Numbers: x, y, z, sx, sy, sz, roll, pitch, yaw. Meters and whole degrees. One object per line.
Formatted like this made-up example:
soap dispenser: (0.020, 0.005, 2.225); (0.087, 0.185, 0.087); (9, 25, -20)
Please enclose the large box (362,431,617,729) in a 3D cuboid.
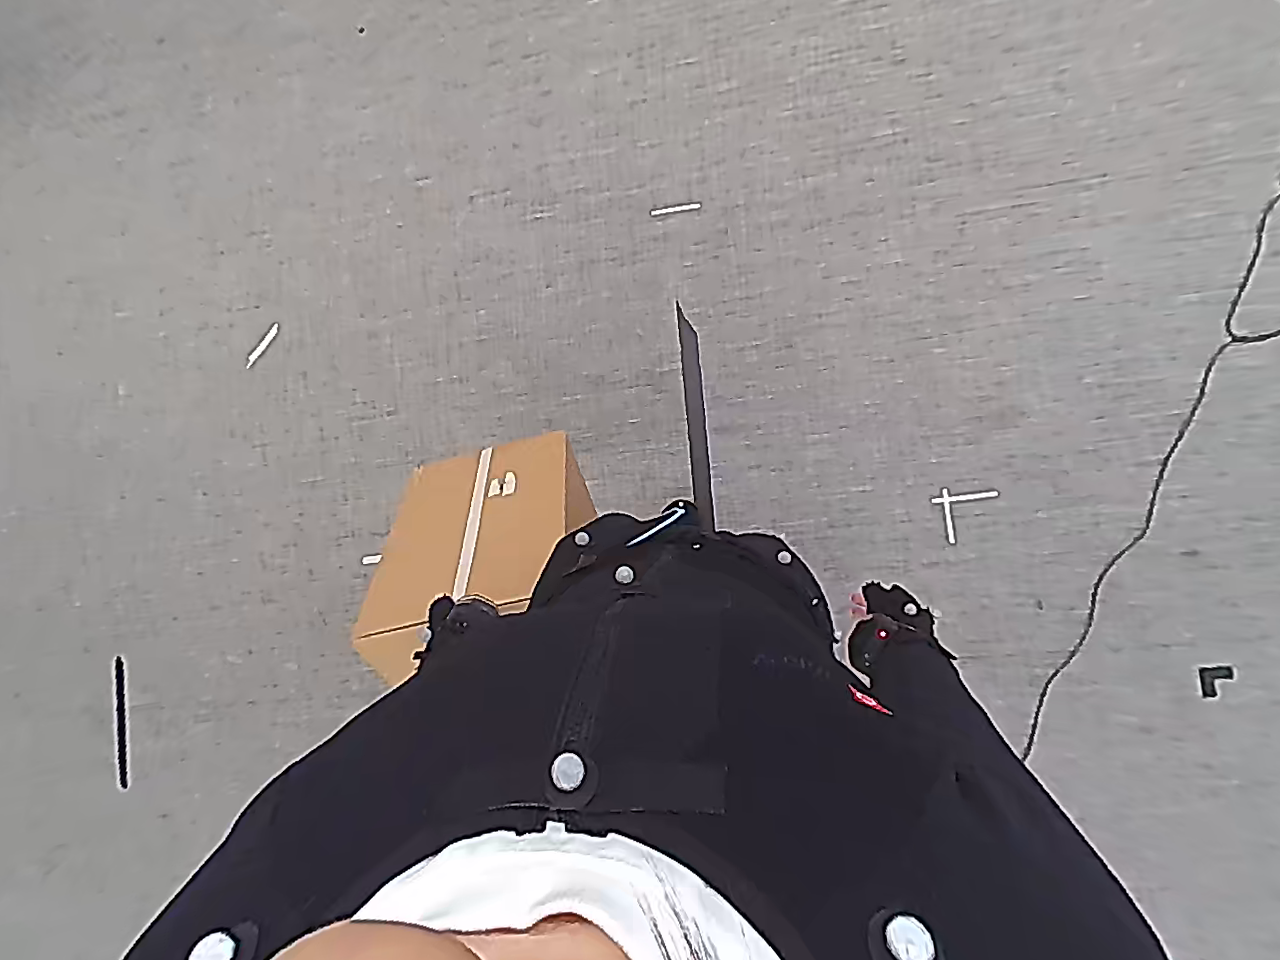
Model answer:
large box: (-0.238, 0.172, 0.998); (0.320, 0.408, 0.320); (-12, 129, 3)
